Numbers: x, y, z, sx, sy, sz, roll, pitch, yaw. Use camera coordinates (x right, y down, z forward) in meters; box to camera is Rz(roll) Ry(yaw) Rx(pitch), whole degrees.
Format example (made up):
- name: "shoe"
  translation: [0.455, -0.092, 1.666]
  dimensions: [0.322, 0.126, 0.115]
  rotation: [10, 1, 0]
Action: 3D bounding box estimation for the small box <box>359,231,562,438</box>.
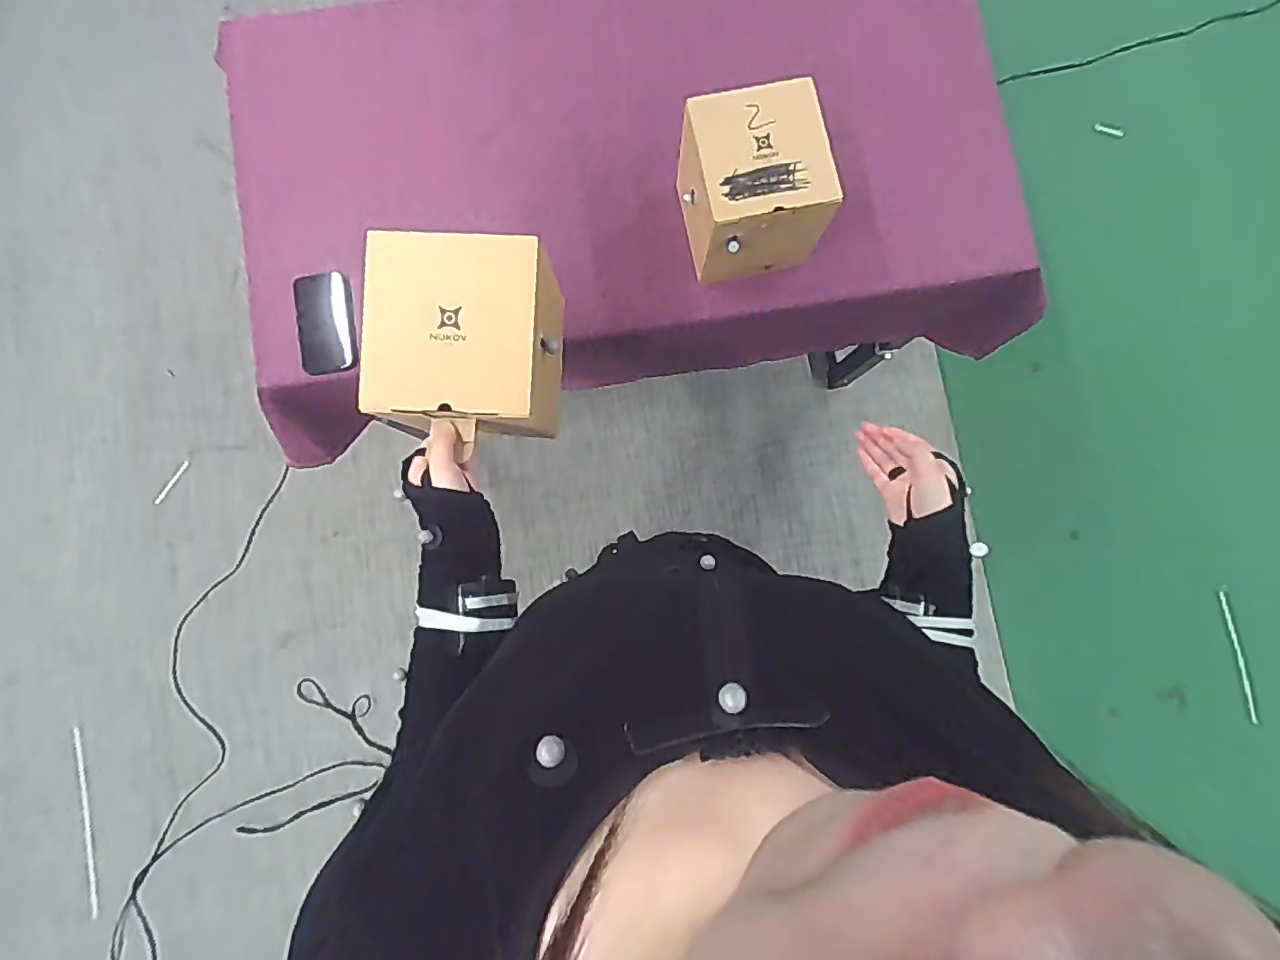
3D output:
- name: "small box"
  translation: [-0.180, -0.144, 0.591]
  dimensions: [0.168, 0.176, 0.179]
  rotation: [3, 89, 0]
